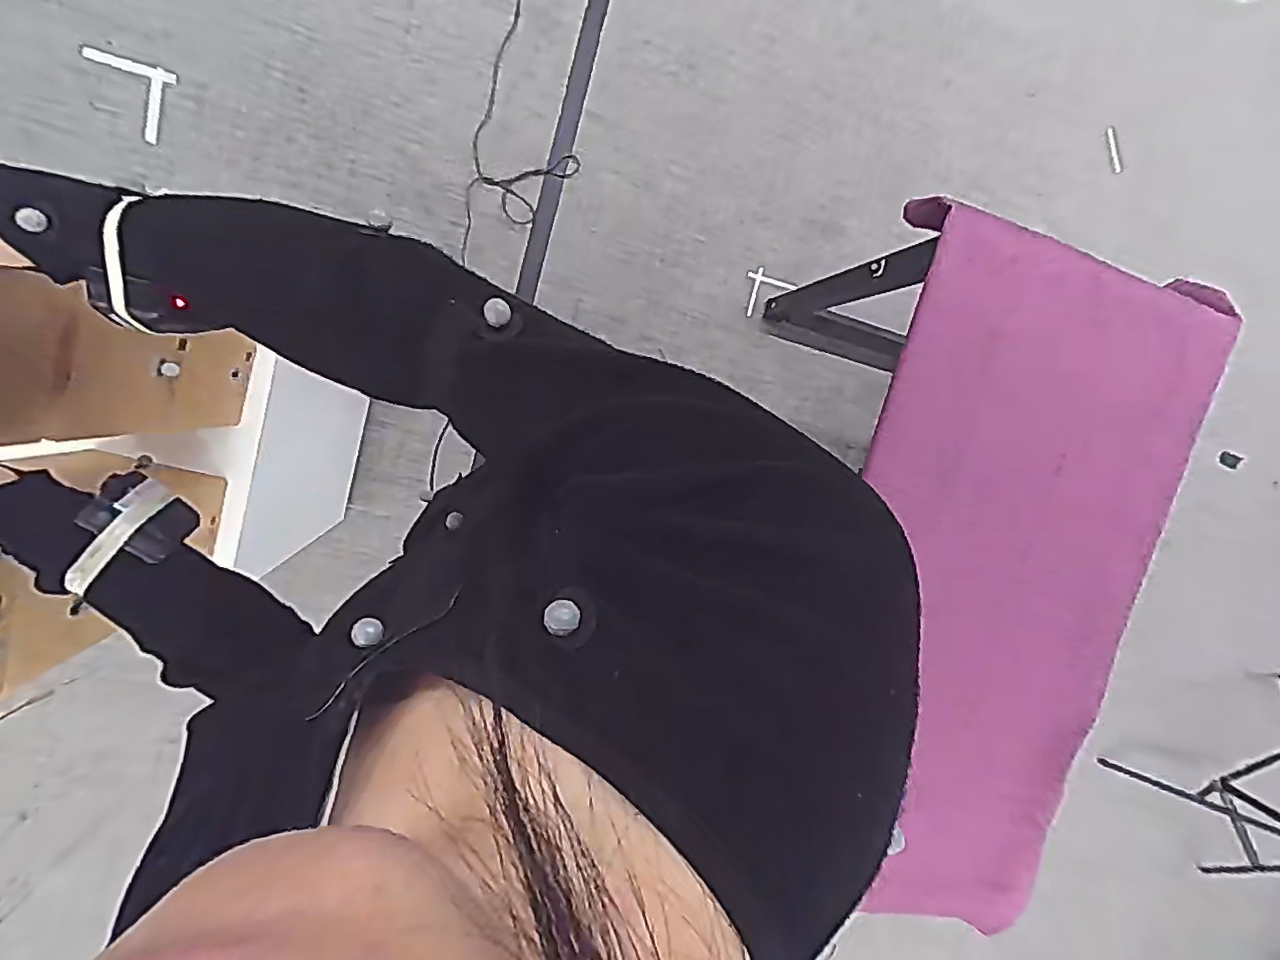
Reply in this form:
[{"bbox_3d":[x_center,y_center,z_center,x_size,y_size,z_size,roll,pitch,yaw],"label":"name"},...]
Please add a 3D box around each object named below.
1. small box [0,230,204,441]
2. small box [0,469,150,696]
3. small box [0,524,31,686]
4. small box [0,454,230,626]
[{"bbox_3d":[-0.584,-0.145,0.527,0.179,0.176,0.168,16,96,-15],"label":"small box"},{"bbox_3d":[-0.659,0.091,0.551,0.179,0.176,0.168,13,96,-13],"label":"small box"},{"bbox_3d":[-0.629,0.115,0.393,0.179,0.176,0.168,13,97,-14],"label":"small box"},{"bbox_3d":[-0.693,0.067,0.708,0.179,0.176,0.168,15,96,-12],"label":"small box"}]
